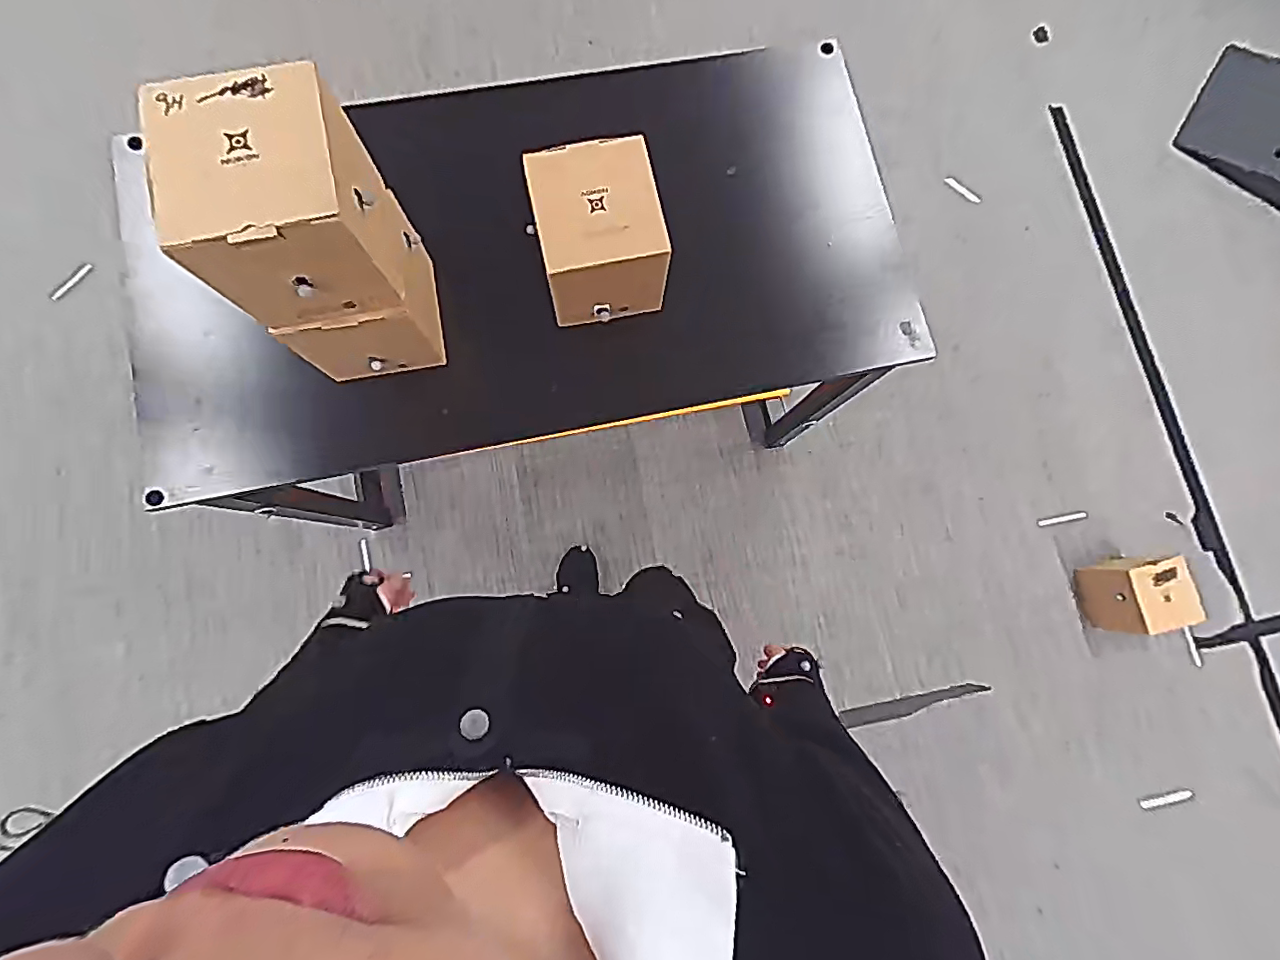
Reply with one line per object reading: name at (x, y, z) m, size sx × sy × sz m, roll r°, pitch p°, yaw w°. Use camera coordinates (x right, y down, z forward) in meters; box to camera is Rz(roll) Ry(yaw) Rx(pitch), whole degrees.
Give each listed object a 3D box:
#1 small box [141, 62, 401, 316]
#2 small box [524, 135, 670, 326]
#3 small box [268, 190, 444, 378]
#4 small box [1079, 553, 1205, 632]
small box at (-0.381, -0.296, 0.589) m, size 0.168 × 0.176 × 0.179 m, roll -13°, pitch 82°, yaw -5°
small box at (-0.061, -0.350, 0.784) m, size 0.168 × 0.176 × 0.179 m, roll -13°, pitch 83°, yaw -4°
small box at (-0.385, -0.261, 0.750) m, size 0.168 × 0.176 × 0.179 m, roll -10°, pitch 82°, yaw -4°
small box at (1.367, 0.307, 1.489) m, size 0.168 × 0.176 × 0.179 m, roll -13°, pitch 83°, yaw -5°
